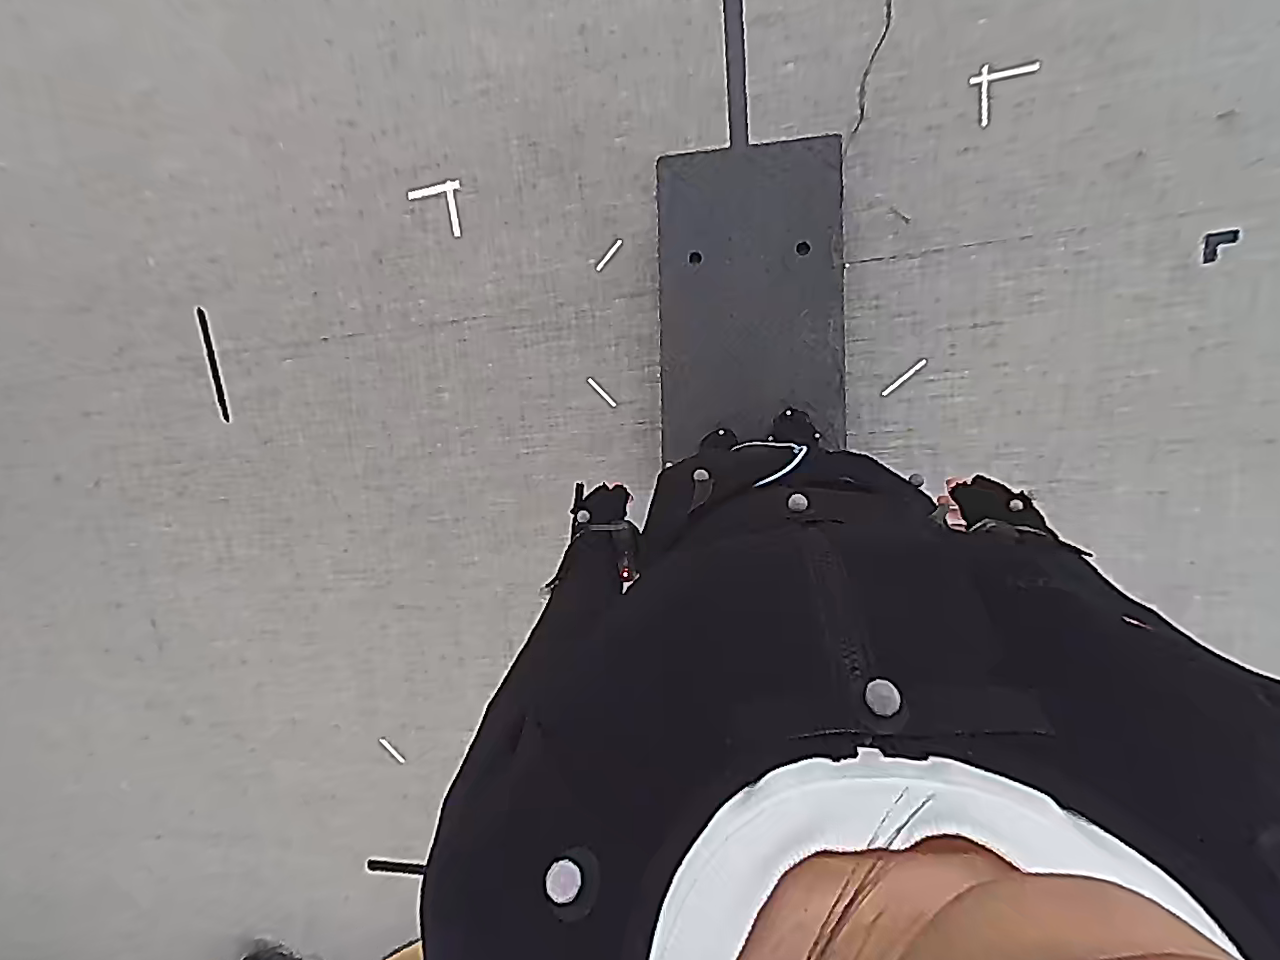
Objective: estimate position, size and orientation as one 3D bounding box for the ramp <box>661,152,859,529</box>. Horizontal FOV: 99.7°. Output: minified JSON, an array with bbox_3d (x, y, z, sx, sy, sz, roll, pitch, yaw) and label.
[{"bbox_3d":[0.314,-0.369,1.477,0.509,0.206,0.991,-4,98,13],"label":"ramp"}]
